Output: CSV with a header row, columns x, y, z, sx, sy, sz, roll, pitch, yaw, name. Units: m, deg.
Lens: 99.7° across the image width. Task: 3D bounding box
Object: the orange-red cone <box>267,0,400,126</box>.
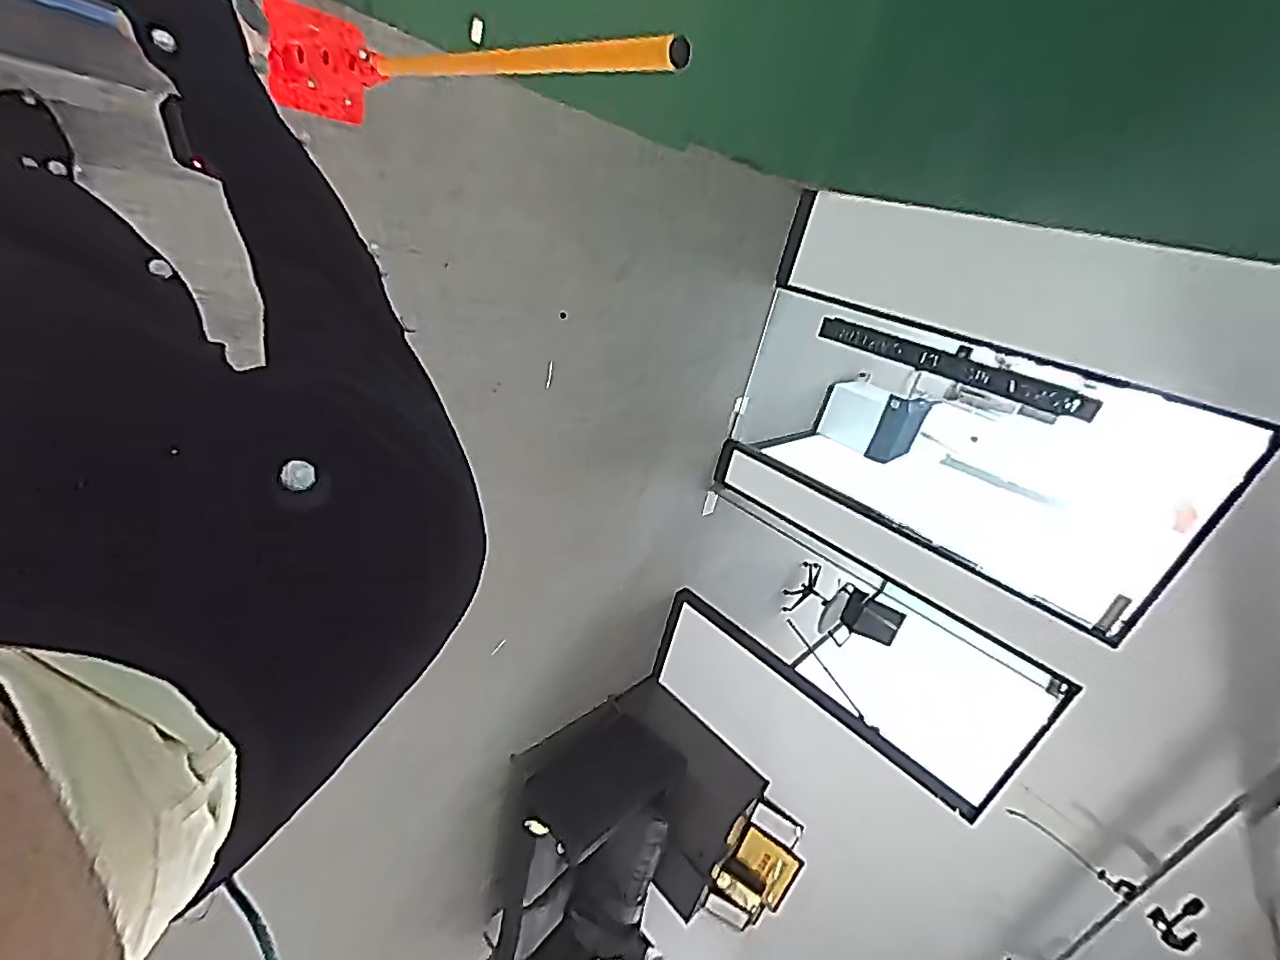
x,y,z,sx,sy,sz,roll,pitch,yaw,name
-0.595,-0.854,1.113,0.198,0.360,0.199,-14,126,-46,orange-red cone
